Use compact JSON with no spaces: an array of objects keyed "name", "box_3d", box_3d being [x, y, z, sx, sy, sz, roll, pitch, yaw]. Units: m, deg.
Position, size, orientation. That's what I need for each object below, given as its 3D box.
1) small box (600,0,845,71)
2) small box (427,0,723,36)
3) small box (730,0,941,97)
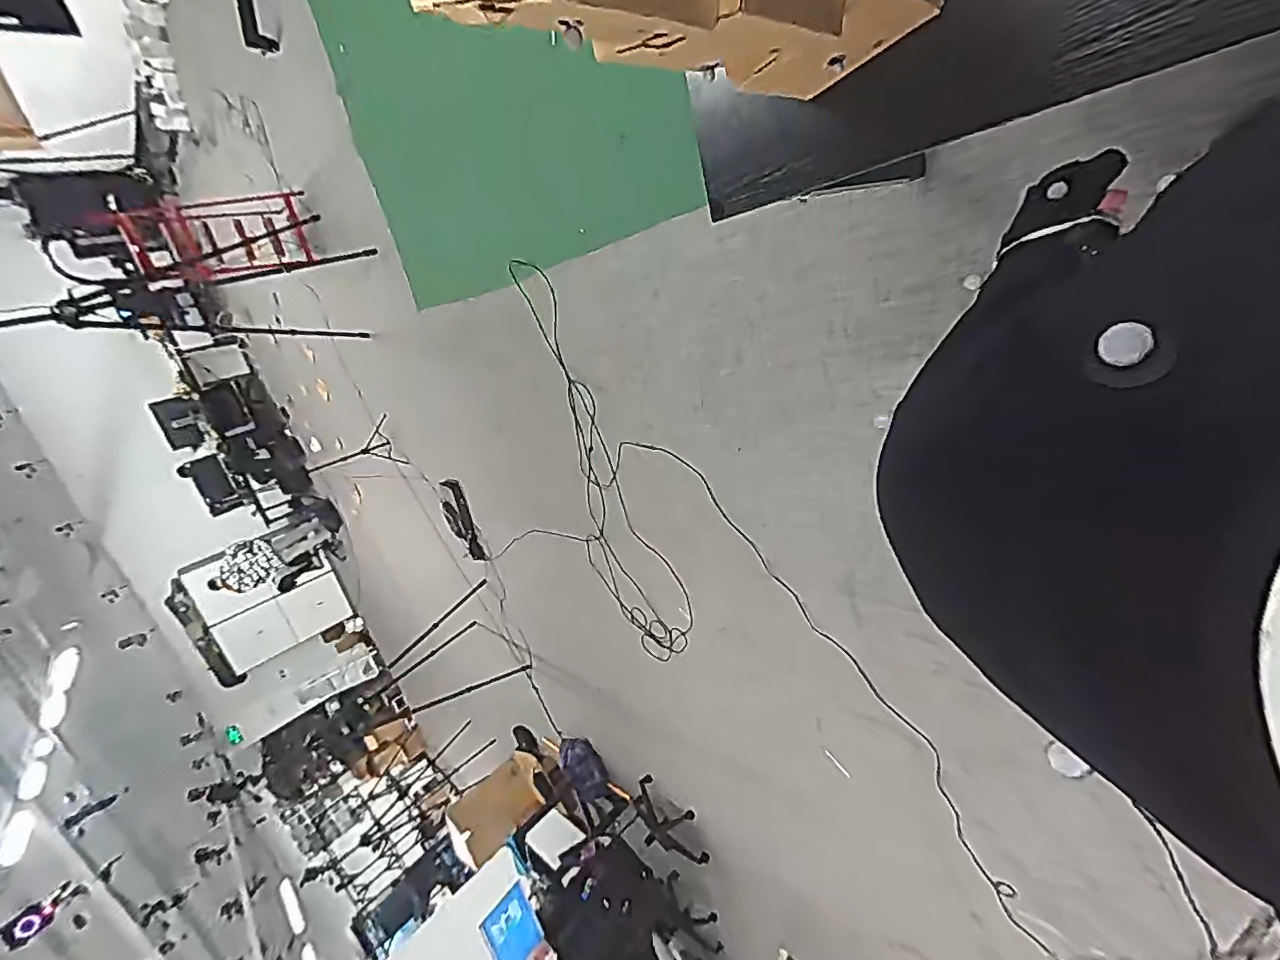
[{"name":"small box","box_3d":[0.074,-0.476,0.468,0.168,0.176,0.179,20,127,39]},{"name":"small box","box_3d":[-0.042,-0.418,0.366,0.168,0.176,0.179,30,134,32]},{"name":"small box","box_3d":[0.188,-0.539,0.567,0.168,0.176,0.179,-6,109,49]}]
